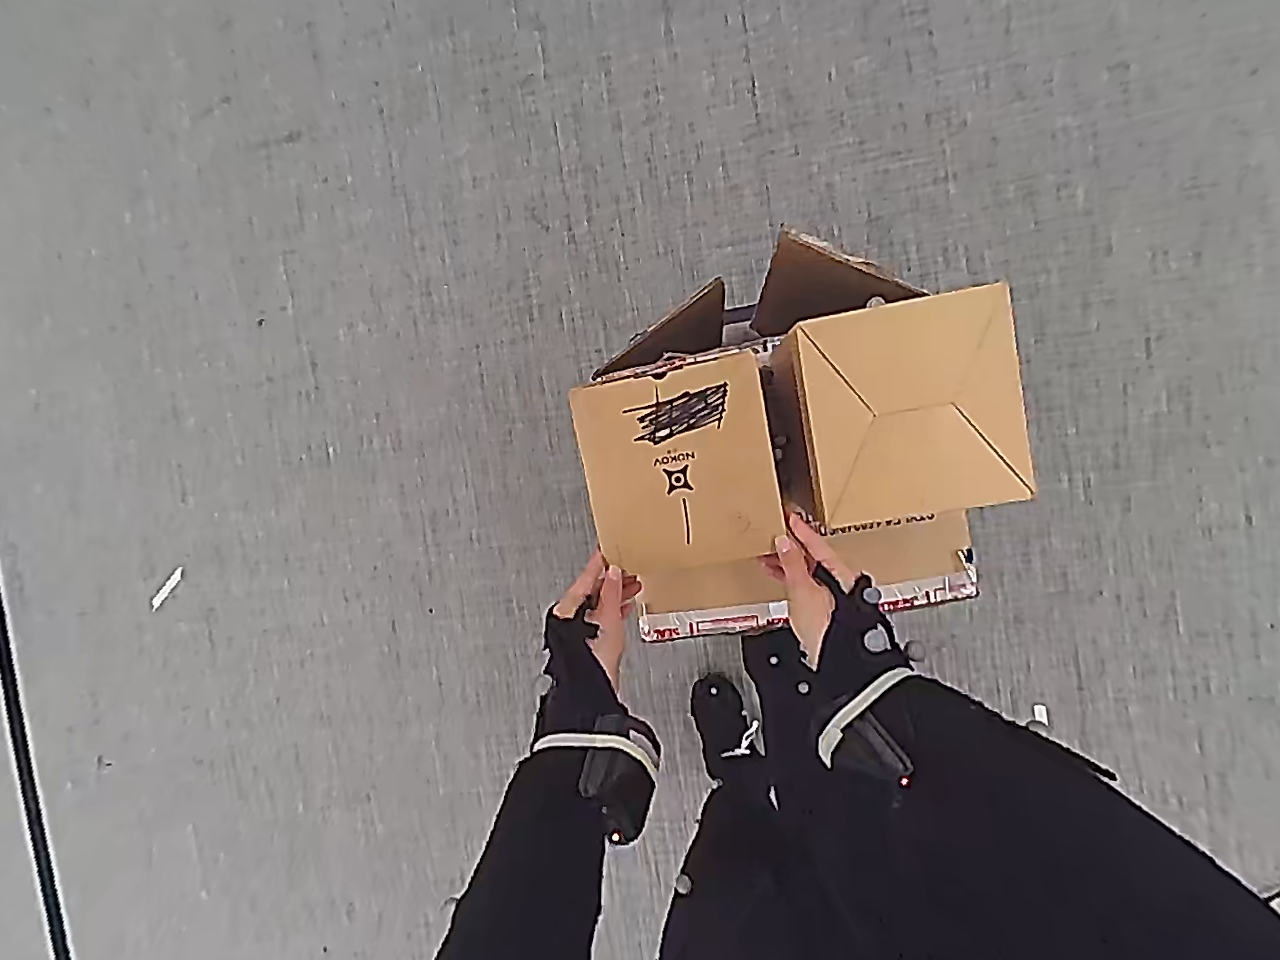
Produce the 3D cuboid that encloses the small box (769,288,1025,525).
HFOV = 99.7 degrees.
[{"bbox_3d":[0.229,-0.061,0.518,0.168,0.176,0.179,-10,94,6],"label":"small box"}]

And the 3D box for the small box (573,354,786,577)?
[{"bbox_3d":[0.044,-0.016,0.550,0.168,0.176,0.179,-10,95,9],"label":"small box"}]
